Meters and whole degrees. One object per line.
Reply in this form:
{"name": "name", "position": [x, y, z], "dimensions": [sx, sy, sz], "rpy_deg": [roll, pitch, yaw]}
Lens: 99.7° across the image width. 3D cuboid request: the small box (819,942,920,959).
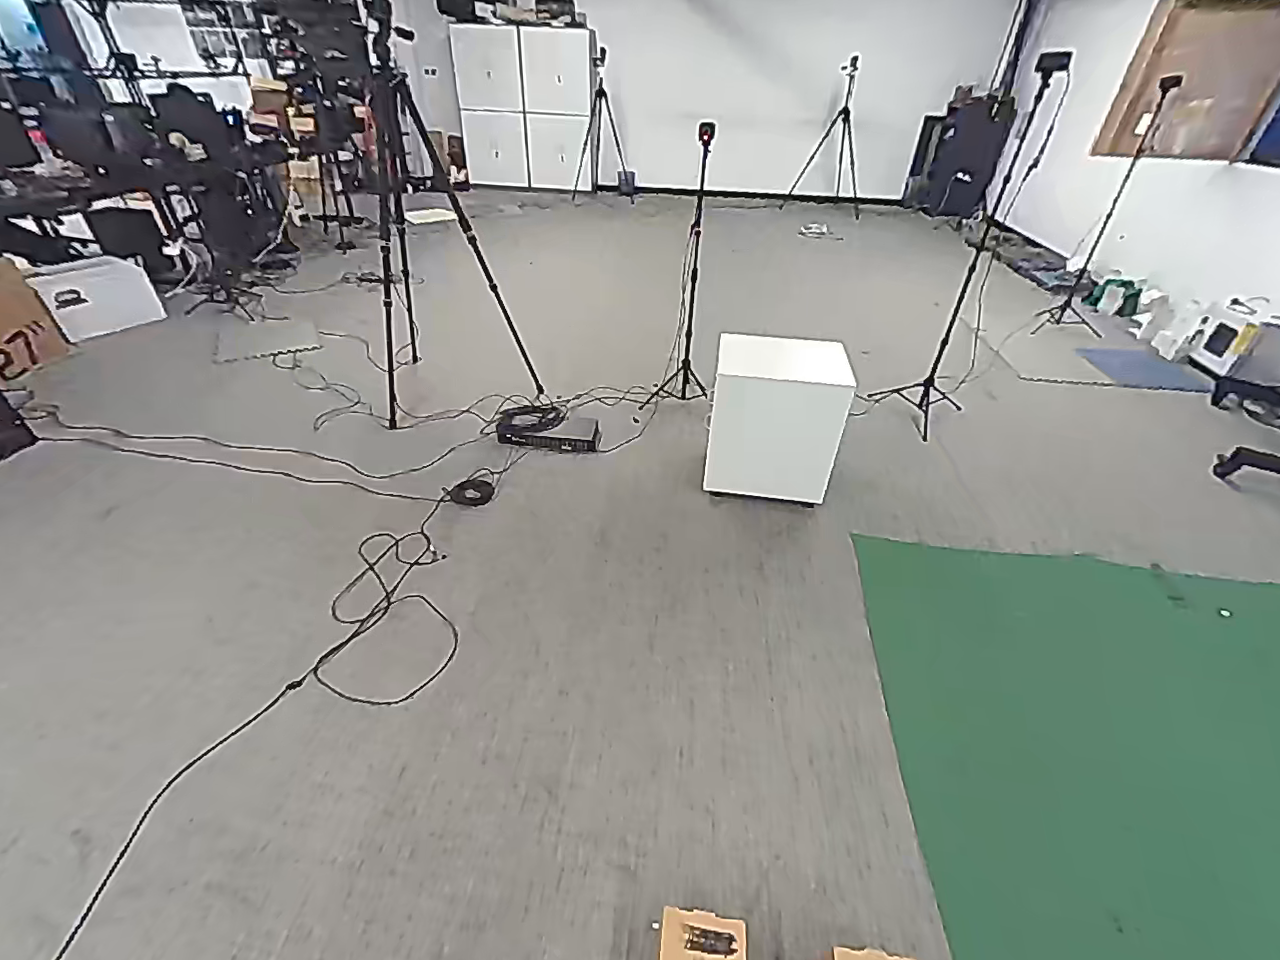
{"name": "small box", "position": [0.441, 1.017, 1.019], "dimensions": [0.168, 0.176, 0.179], "rpy_deg": [7, 38, 4]}
